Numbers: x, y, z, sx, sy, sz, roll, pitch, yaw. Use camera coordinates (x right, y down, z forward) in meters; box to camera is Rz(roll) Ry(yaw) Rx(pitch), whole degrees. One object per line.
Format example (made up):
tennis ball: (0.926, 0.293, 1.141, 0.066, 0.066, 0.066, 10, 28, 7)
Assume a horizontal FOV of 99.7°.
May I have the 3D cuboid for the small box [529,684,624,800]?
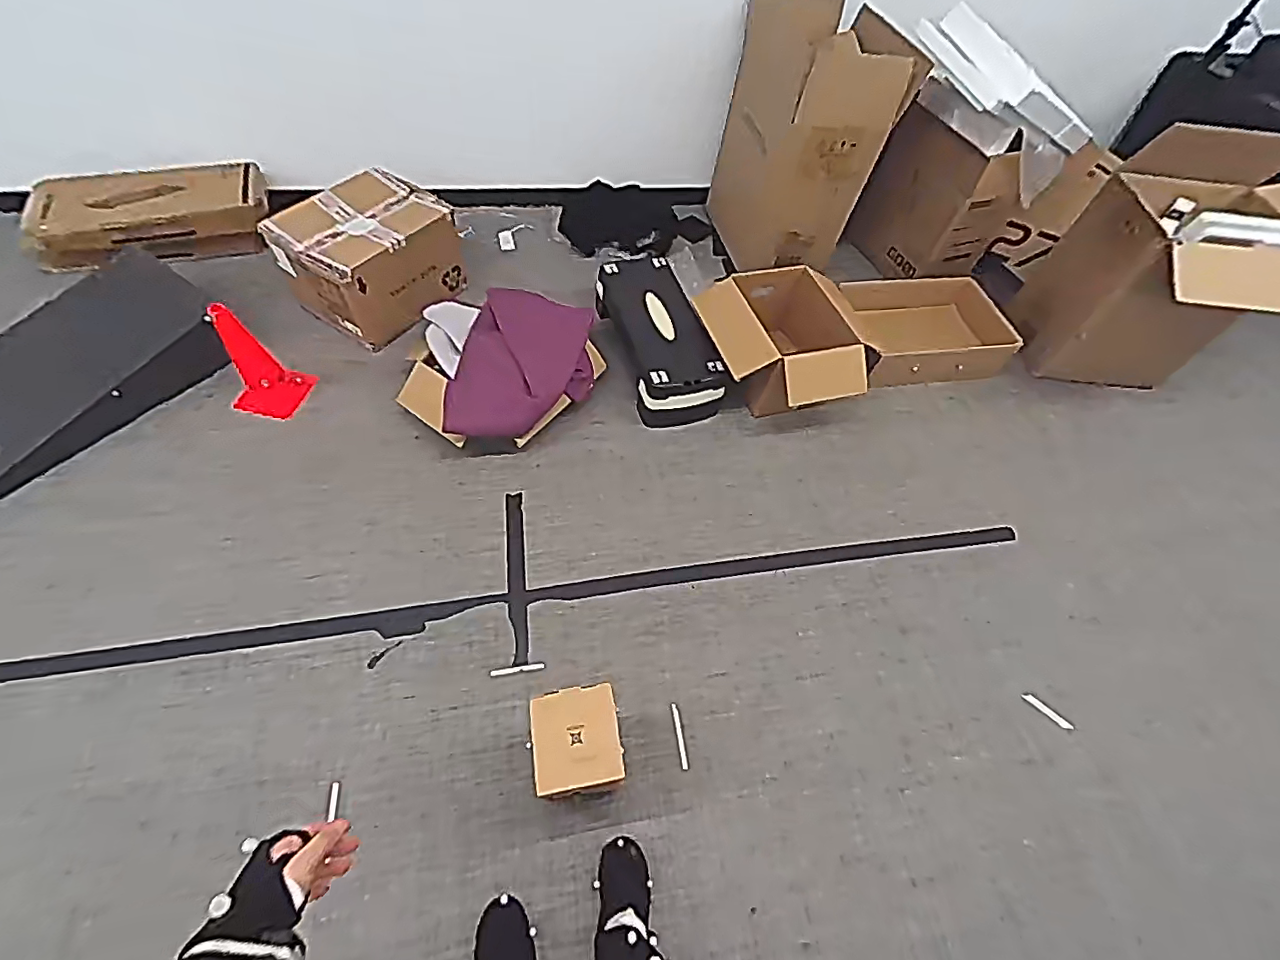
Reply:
small box: (-0.132, 0.534, 1.097, 0.168, 0.176, 0.179, -8, 60, -10)
